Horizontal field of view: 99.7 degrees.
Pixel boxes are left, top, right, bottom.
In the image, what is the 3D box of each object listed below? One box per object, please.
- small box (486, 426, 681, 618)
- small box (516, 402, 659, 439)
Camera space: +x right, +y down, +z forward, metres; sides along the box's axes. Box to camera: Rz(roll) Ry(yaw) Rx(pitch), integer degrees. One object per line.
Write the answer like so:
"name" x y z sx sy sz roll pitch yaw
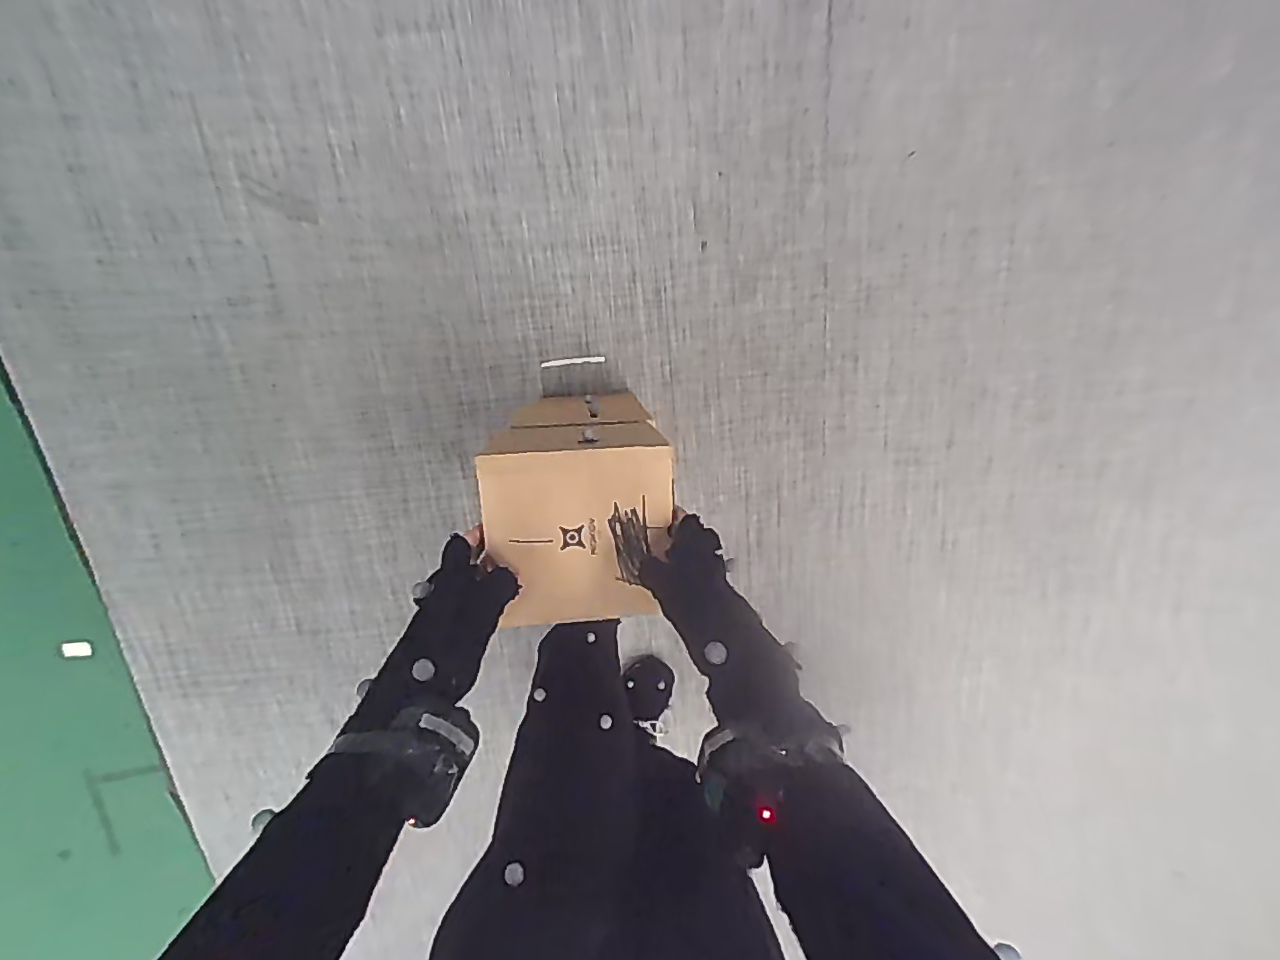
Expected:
"small box" -0.060 0.033 0.574 0.179 0.176 0.168 0 101 -6
"small box" -0.071 -0.013 0.745 0.179 0.176 0.168 -3 107 -5
